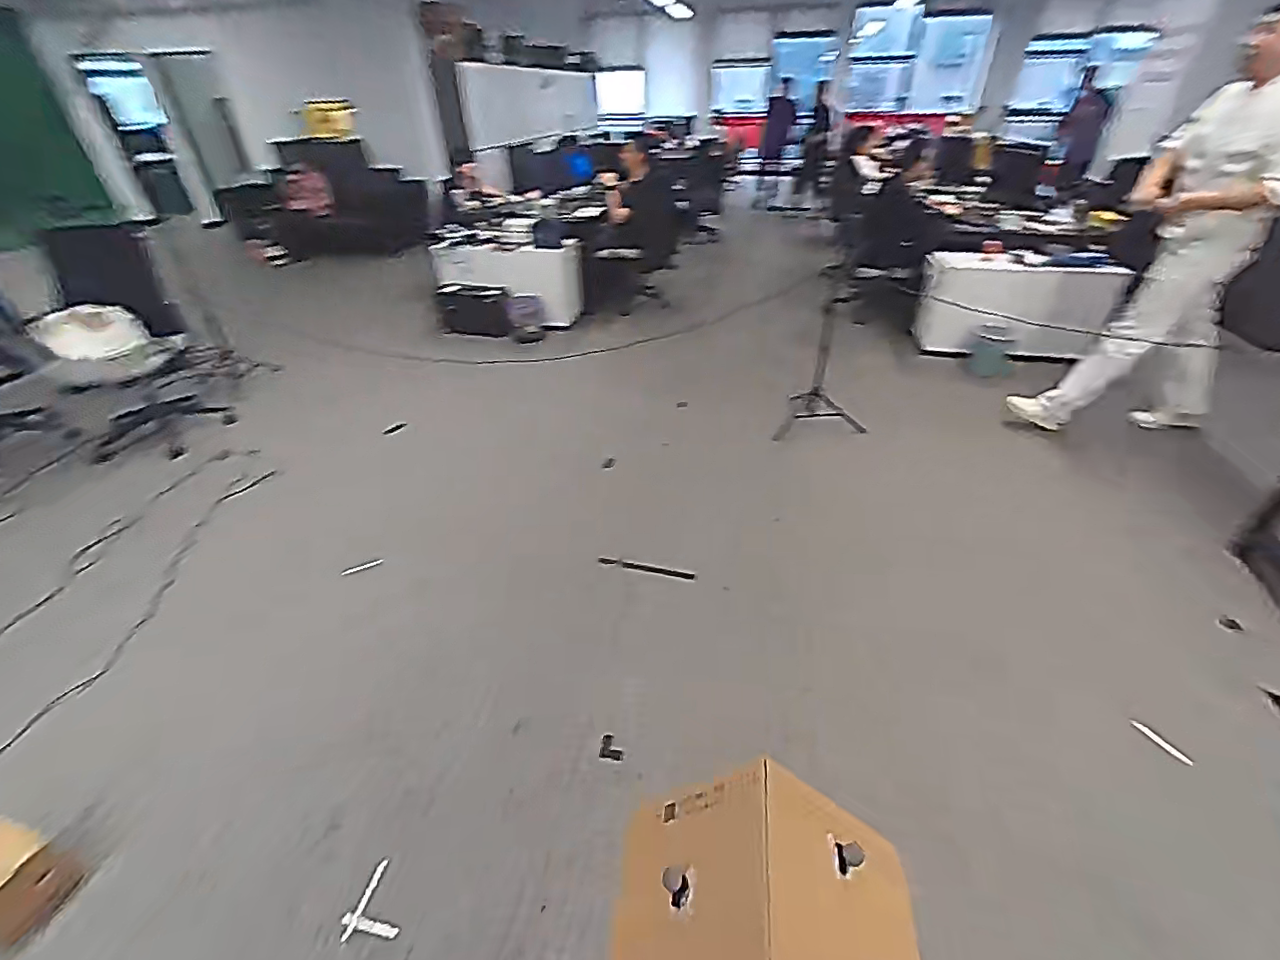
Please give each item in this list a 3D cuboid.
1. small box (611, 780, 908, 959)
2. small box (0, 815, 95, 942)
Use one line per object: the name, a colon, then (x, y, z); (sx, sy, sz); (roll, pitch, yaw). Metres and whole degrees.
small box: (0.088, 0.362, 0.421); (0.179, 0.168, 0.176); (39, 32, -17)
small box: (-1.444, 0.926, 1.253); (0.179, 0.176, 0.168); (11, 37, 17)
